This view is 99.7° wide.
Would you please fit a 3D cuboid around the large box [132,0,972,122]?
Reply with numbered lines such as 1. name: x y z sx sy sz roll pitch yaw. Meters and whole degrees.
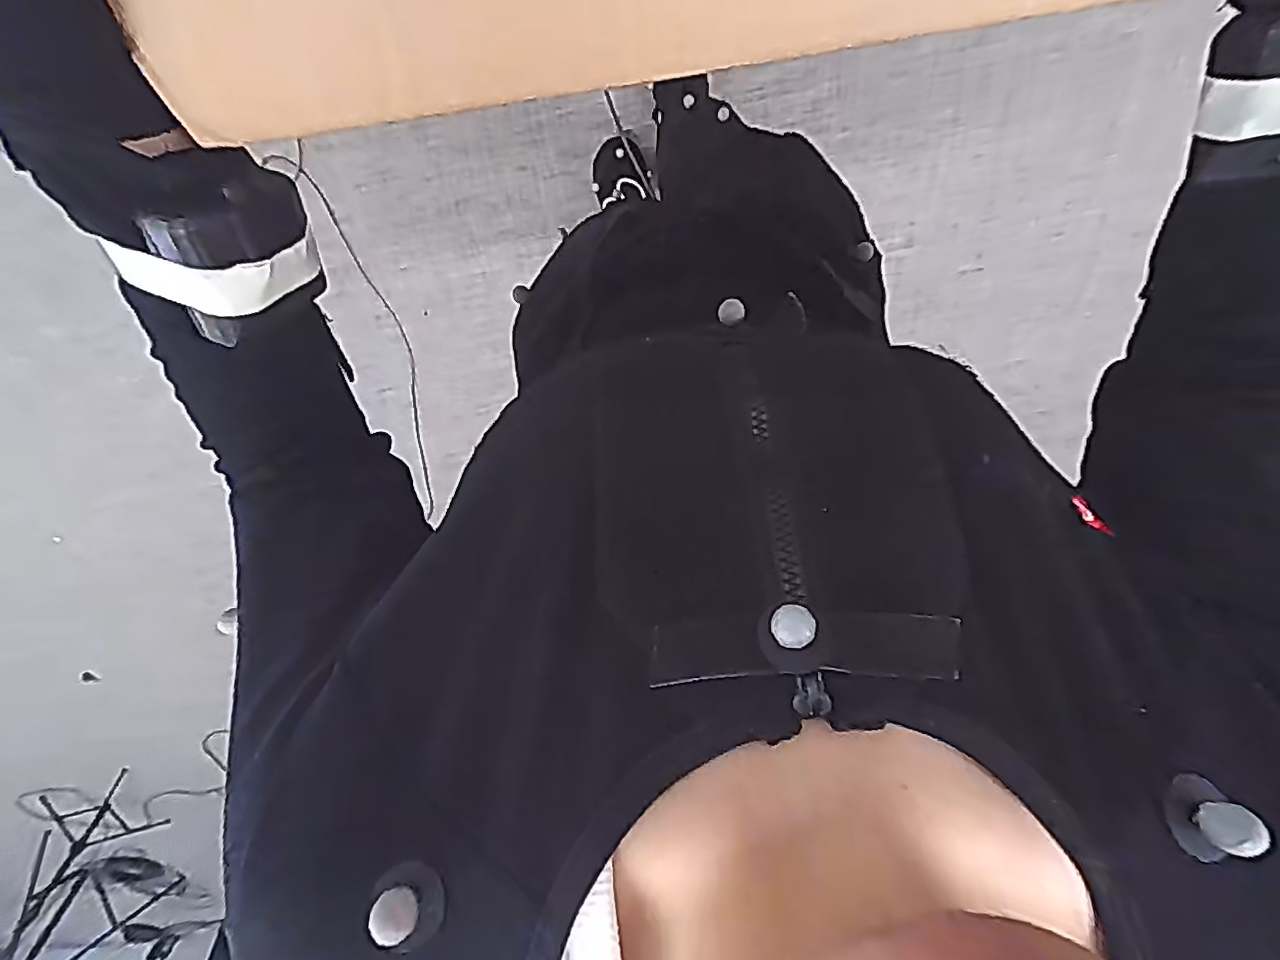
1. large box: 0.001 -0.375 0.167 0.408 0.320 0.320 -7 143 2
